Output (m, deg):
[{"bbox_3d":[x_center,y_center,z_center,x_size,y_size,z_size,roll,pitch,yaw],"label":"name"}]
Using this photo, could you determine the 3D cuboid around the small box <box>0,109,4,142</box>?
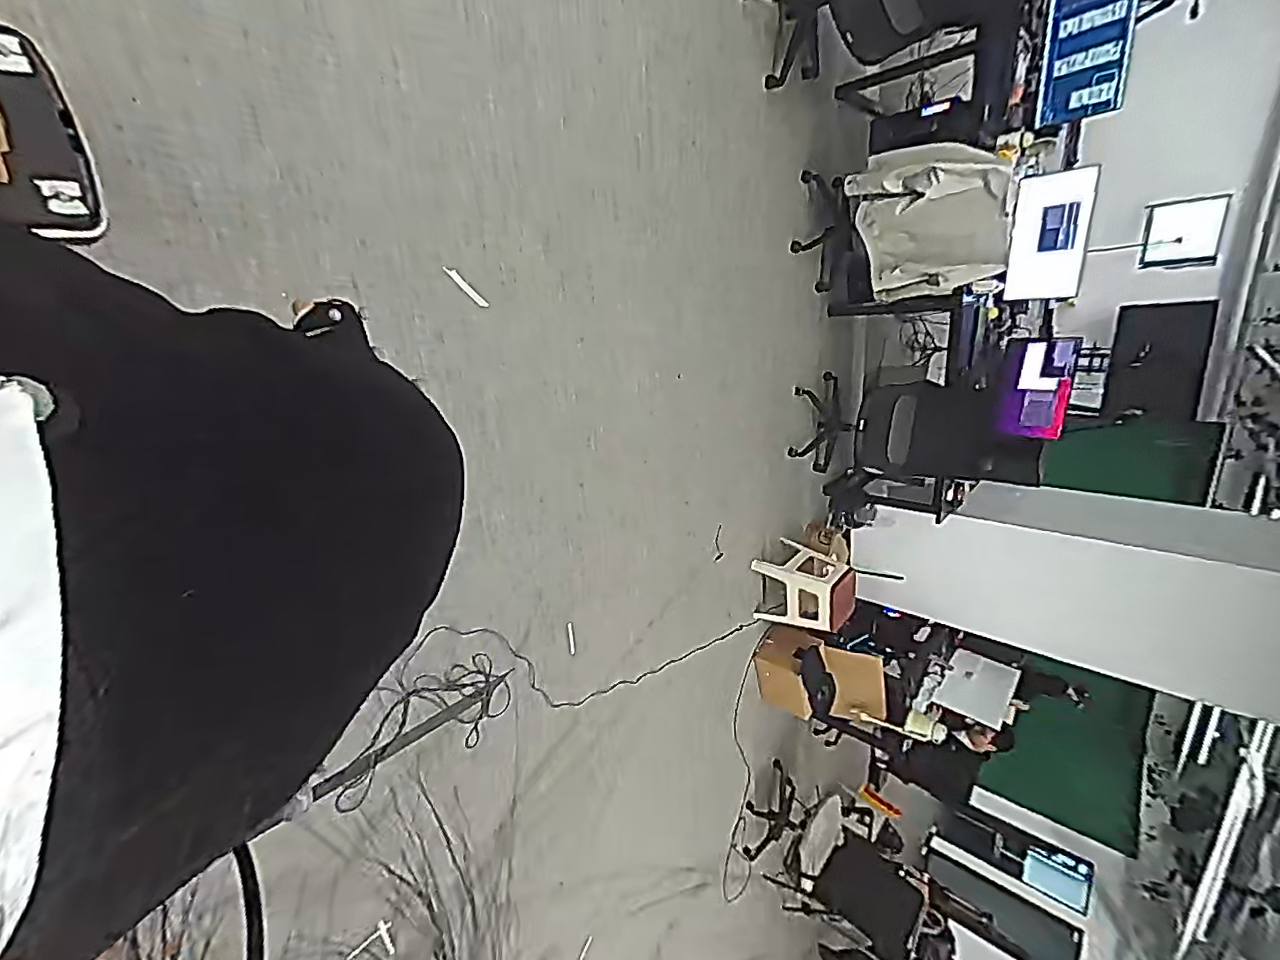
[{"bbox_3d":[-0.849,-0.487,0.584,0.168,0.176,0.179,-25,118,-41],"label":"small box"}]
